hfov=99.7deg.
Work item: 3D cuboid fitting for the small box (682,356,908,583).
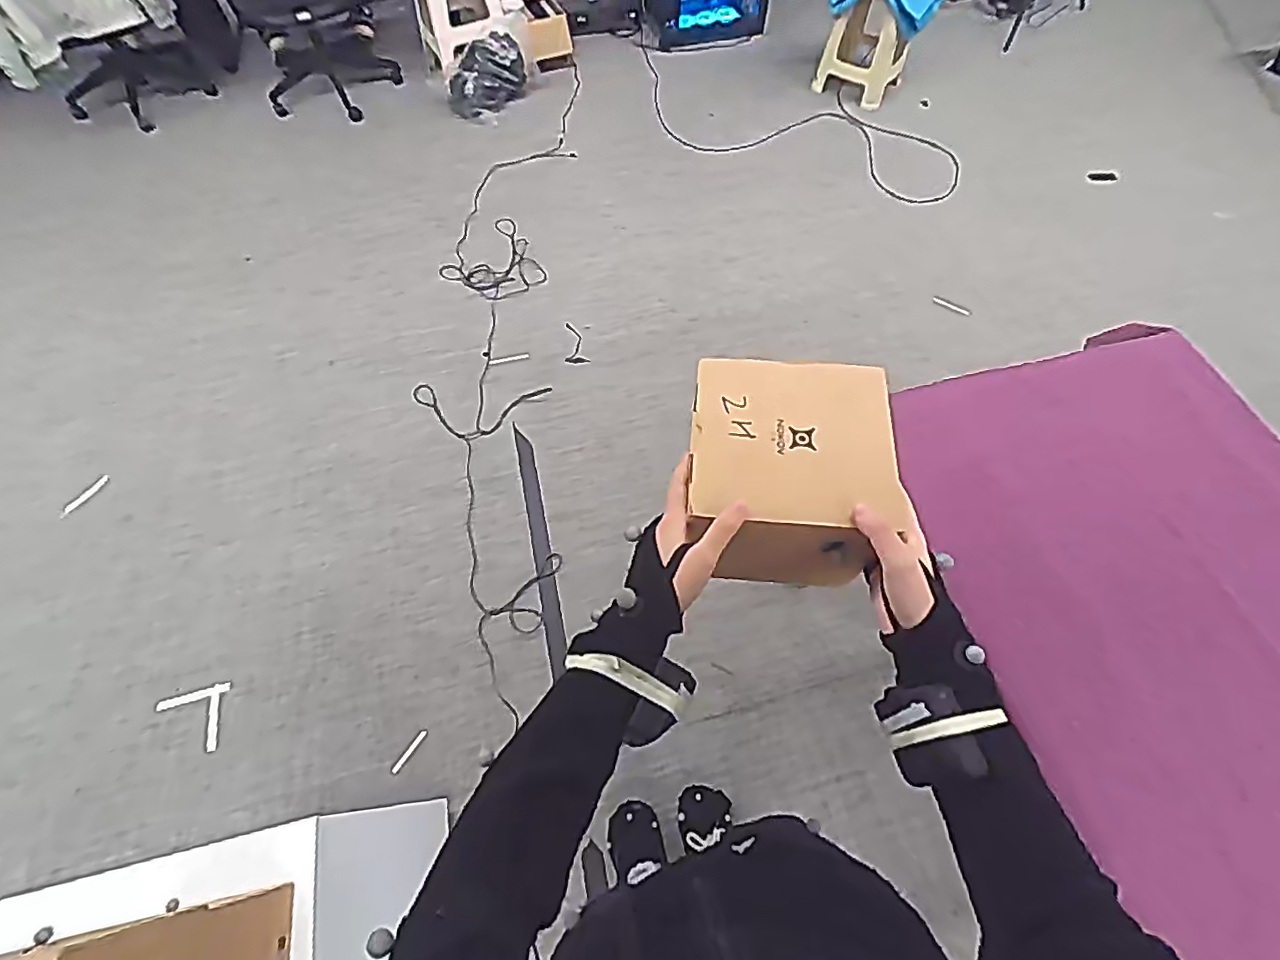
[{"bbox_3d":[0.137,-0.002,0.538,0.179,0.176,0.168,4,63,5],"label":"small box"}]

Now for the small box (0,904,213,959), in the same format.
[{"bbox_3d":[-0.508,0.481,0.442,0.179,0.176,0.168,-10,63,-6],"label":"small box"}]
